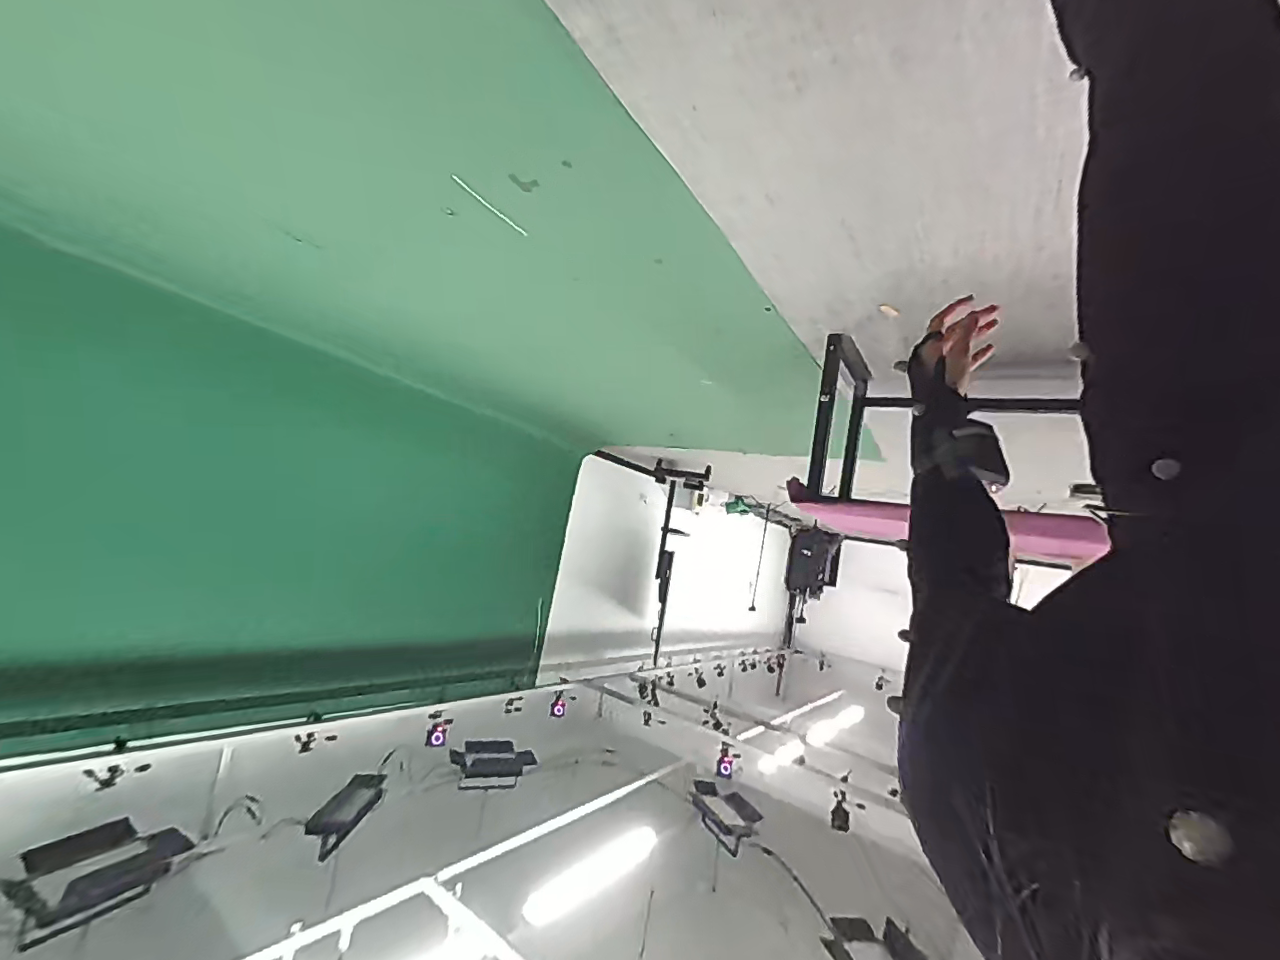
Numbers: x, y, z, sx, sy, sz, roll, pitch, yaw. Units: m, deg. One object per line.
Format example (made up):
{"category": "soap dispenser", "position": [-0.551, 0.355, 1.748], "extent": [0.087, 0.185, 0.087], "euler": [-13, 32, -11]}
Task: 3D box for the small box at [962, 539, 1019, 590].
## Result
{"category": "small box", "position": [1.370, 0.330, 2.113], "extent": [0.179, 0.176, 0.168], "euler": [5, 169, 34]}
